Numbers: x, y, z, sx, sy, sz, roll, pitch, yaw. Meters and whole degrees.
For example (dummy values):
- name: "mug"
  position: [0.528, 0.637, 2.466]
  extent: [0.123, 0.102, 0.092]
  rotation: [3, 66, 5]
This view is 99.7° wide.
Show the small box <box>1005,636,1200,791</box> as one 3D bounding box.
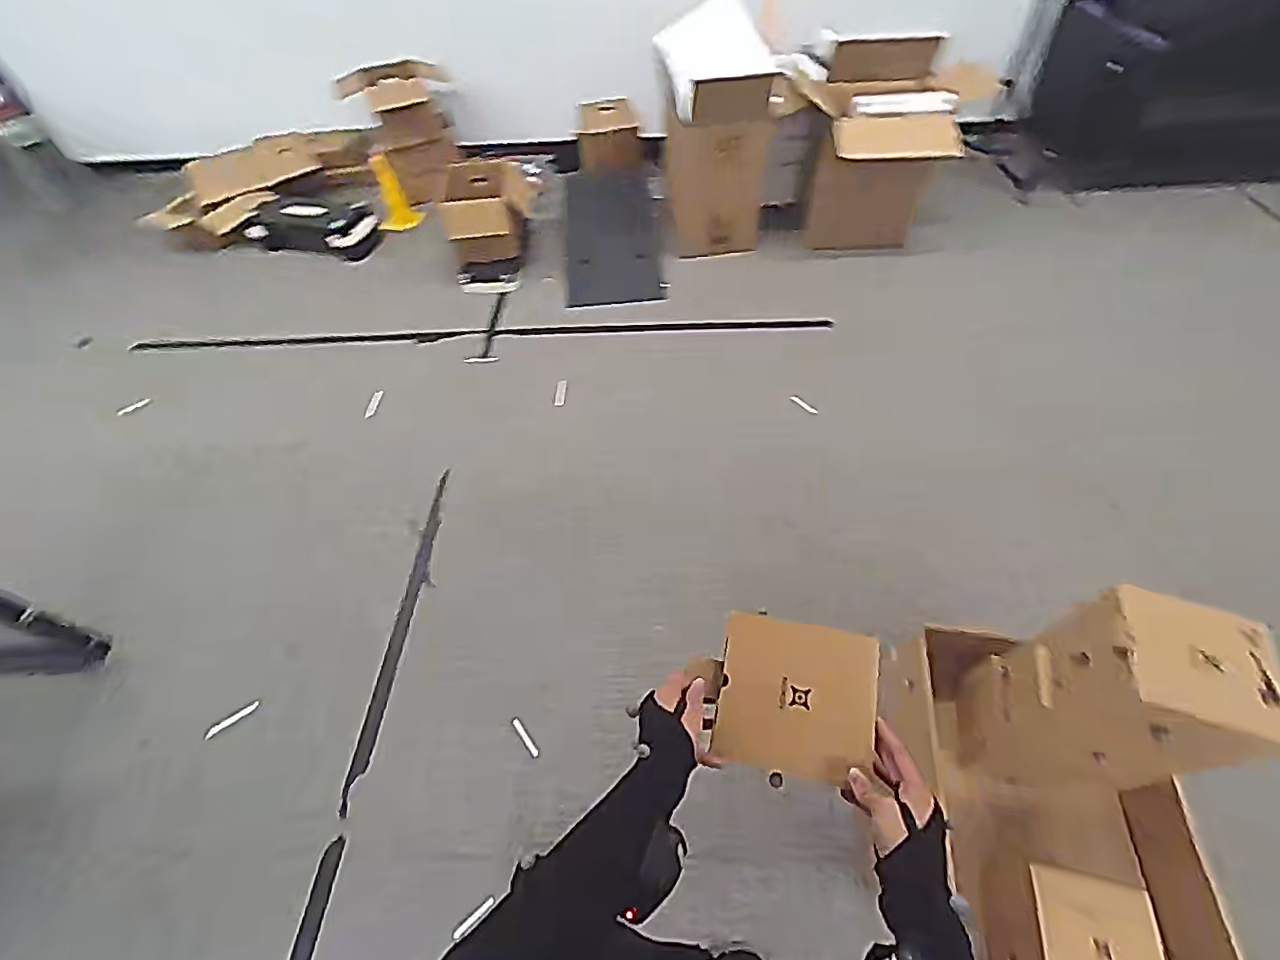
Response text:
- name: "small box"
  position: [0.716, 0.379, 0.869]
  extent: [0.179, 0.176, 0.168]
  rotation: [14, 55, 12]

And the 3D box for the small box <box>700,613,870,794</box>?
- name: "small box"
  position: [0.177, 0.277, 0.687]
  extent: [0.179, 0.176, 0.168]
  rotation: [8, 68, 12]

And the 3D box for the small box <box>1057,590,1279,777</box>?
- name: "small box"
  position: [0.705, 0.281, 0.737]
  extent: [0.179, 0.176, 0.168]
  rotation: [17, 56, 15]
